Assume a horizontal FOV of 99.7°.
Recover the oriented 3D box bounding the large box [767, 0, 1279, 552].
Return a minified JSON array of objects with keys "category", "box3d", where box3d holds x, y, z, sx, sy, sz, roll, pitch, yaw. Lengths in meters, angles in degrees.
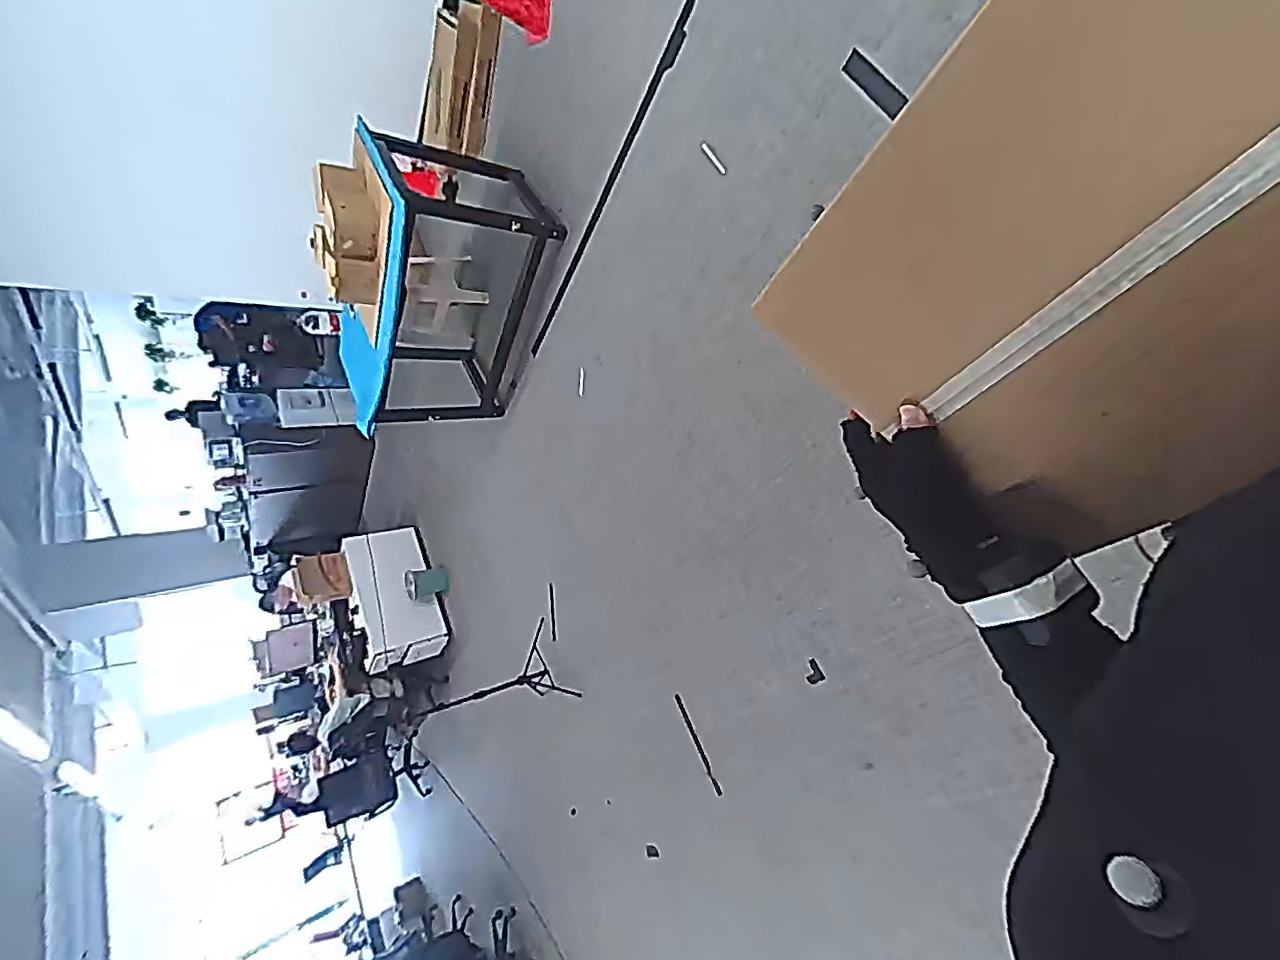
[{"category":"large box","box3d":[0.375,-0.220,0.399,0.320,0.320,0.408,43,139,2]}]
